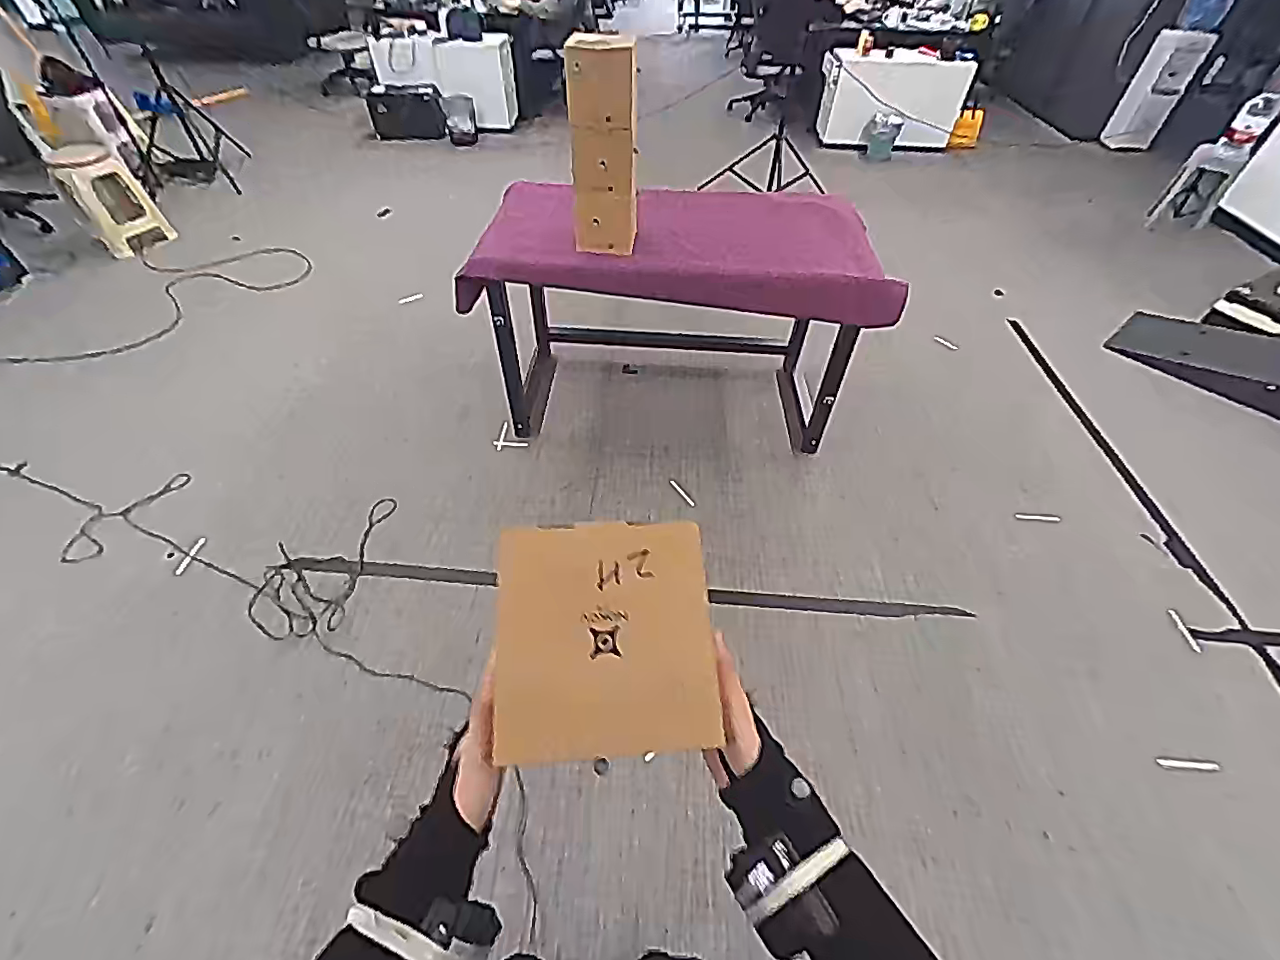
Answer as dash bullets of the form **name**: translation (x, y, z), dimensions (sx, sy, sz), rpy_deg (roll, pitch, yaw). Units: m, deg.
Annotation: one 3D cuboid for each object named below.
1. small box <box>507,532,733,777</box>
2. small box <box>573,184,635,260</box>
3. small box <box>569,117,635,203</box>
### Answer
- **small box**: translation (-0.024, 0.159, 0.491), dimensions (0.168, 0.176, 0.179), rpy_deg (-2, 64, -7)
- **small box**: translation (-0.103, -0.782, 1.637), dimensions (0.168, 0.176, 0.179), rpy_deg (4, 47, 2)
- **small box**: translation (-0.101, -0.898, 1.520), dimensions (0.168, 0.176, 0.179), rpy_deg (3, 48, 0)
